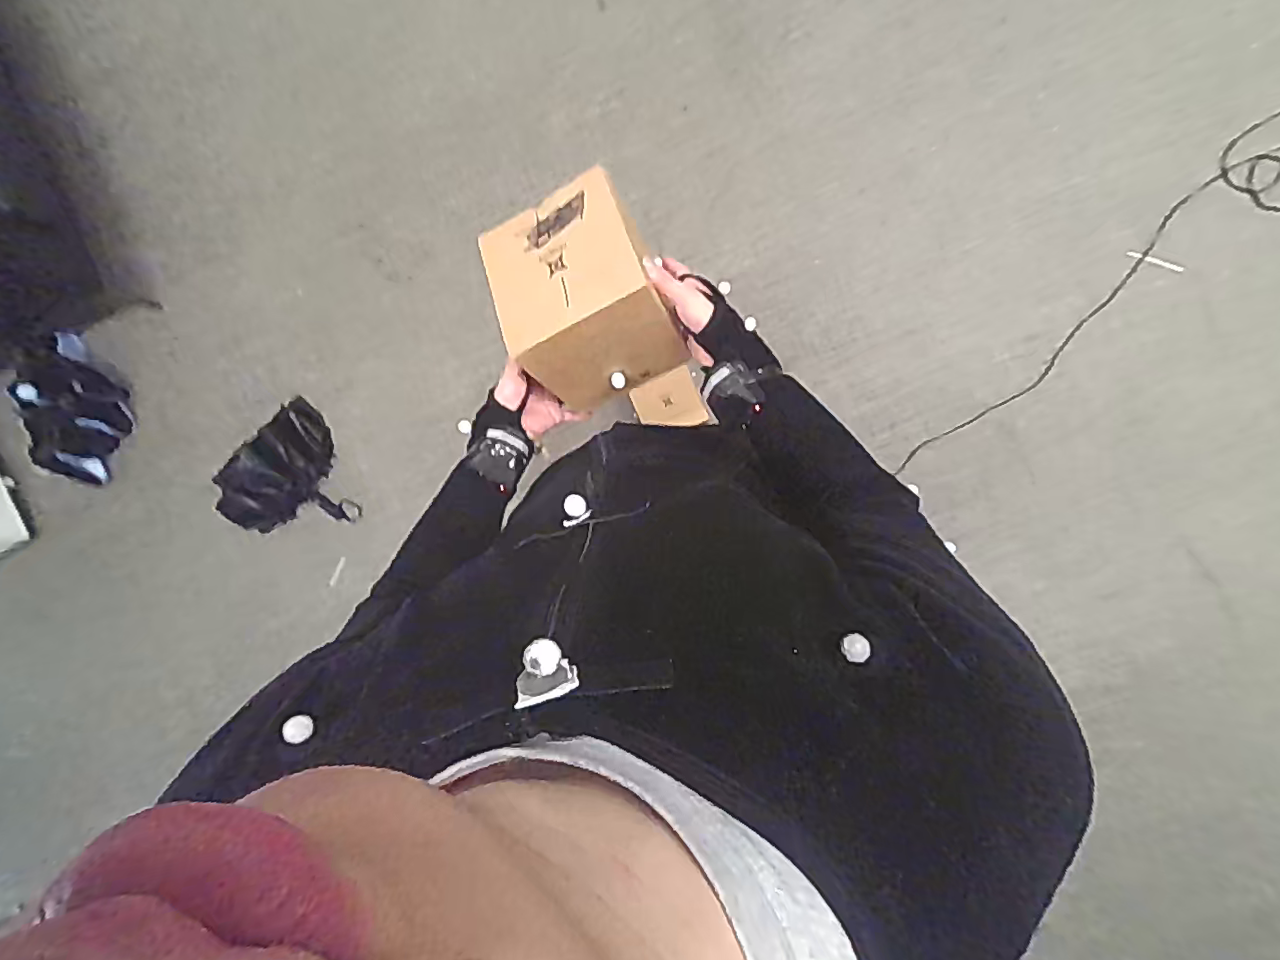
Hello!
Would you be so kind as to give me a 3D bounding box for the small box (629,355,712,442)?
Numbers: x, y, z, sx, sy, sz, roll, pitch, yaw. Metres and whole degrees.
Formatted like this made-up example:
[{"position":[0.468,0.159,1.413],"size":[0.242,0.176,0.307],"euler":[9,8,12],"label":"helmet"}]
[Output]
[{"position":[0.085,-0.212,1.459],"size":[0.168,0.176,0.179],"euler":[-24,91,8],"label":"small box"}]
